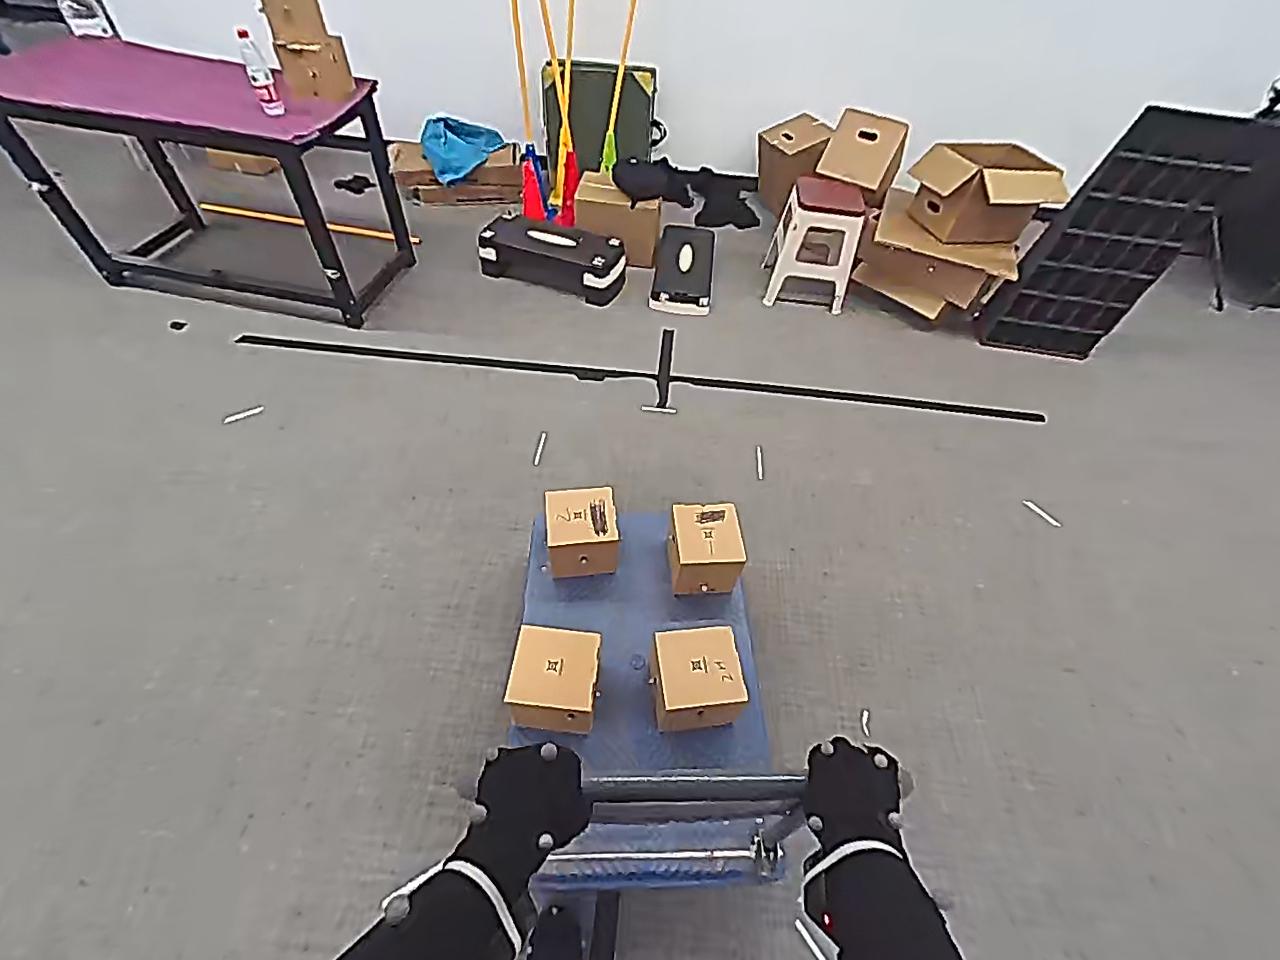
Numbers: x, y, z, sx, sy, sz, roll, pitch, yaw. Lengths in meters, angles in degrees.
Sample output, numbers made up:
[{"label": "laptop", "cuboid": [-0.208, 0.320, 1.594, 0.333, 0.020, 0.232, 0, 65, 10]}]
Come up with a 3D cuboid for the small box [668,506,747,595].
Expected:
[{"label": "small box", "cuboid": [0.171, 0.186, 1.426, 0.168, 0.176, 0.179, -1, 53, -5]}]

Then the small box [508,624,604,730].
[{"label": "small box", "cuboid": [-0.180, 0.439, 1.193, 0.179, 0.176, 0.168, 7, 51, -1]}]

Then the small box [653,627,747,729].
[{"label": "small box", "cuboid": [0.124, 0.447, 1.213, 0.179, 0.176, 0.168, -3, 52, -7]}]
